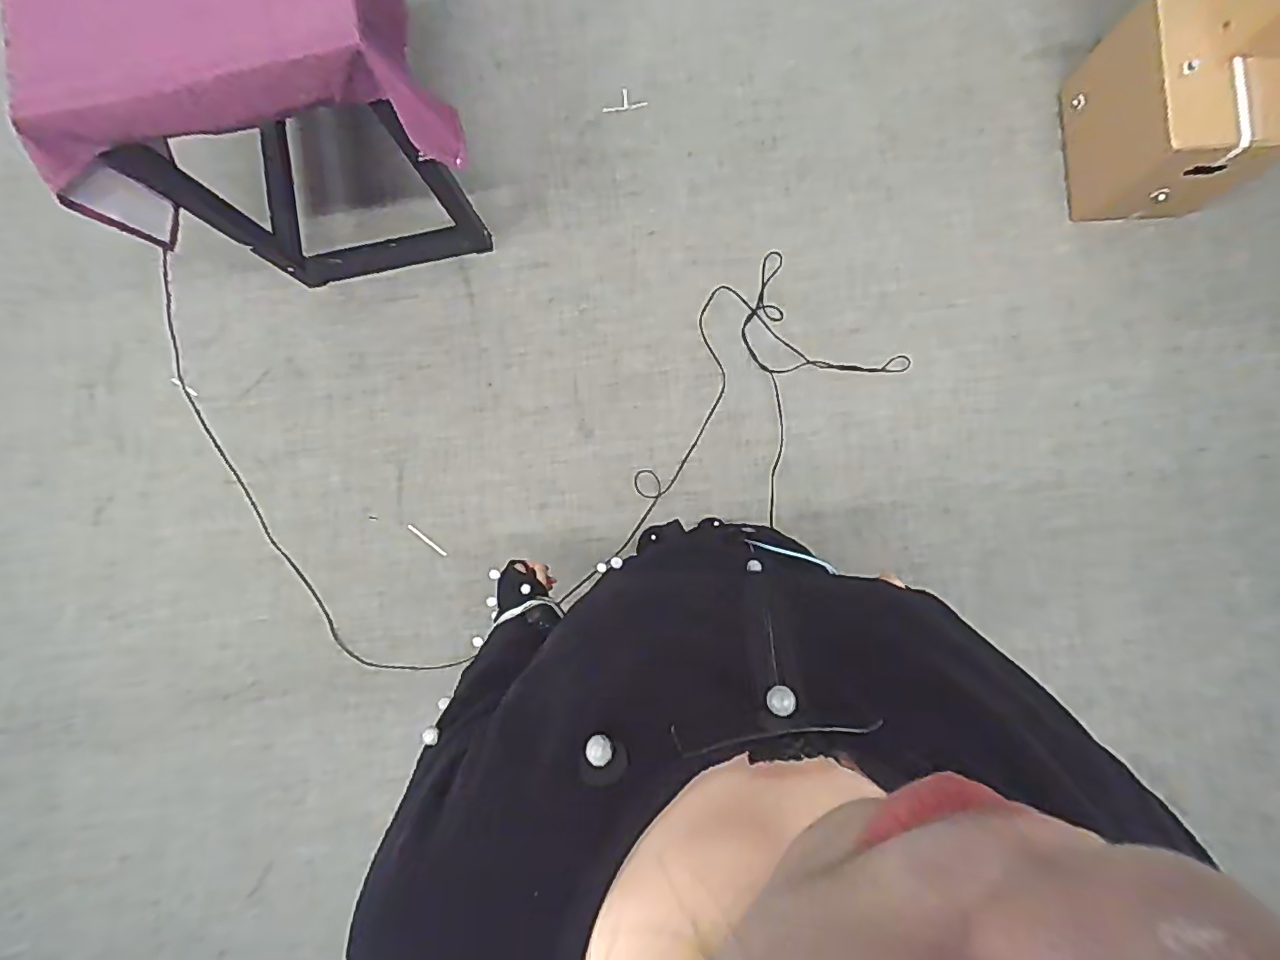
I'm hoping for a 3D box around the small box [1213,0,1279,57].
[{"bbox_3d":[1.366,-1.032,1.134,0.179,0.176,0.168,-1,87,1],"label":"small box"}]
